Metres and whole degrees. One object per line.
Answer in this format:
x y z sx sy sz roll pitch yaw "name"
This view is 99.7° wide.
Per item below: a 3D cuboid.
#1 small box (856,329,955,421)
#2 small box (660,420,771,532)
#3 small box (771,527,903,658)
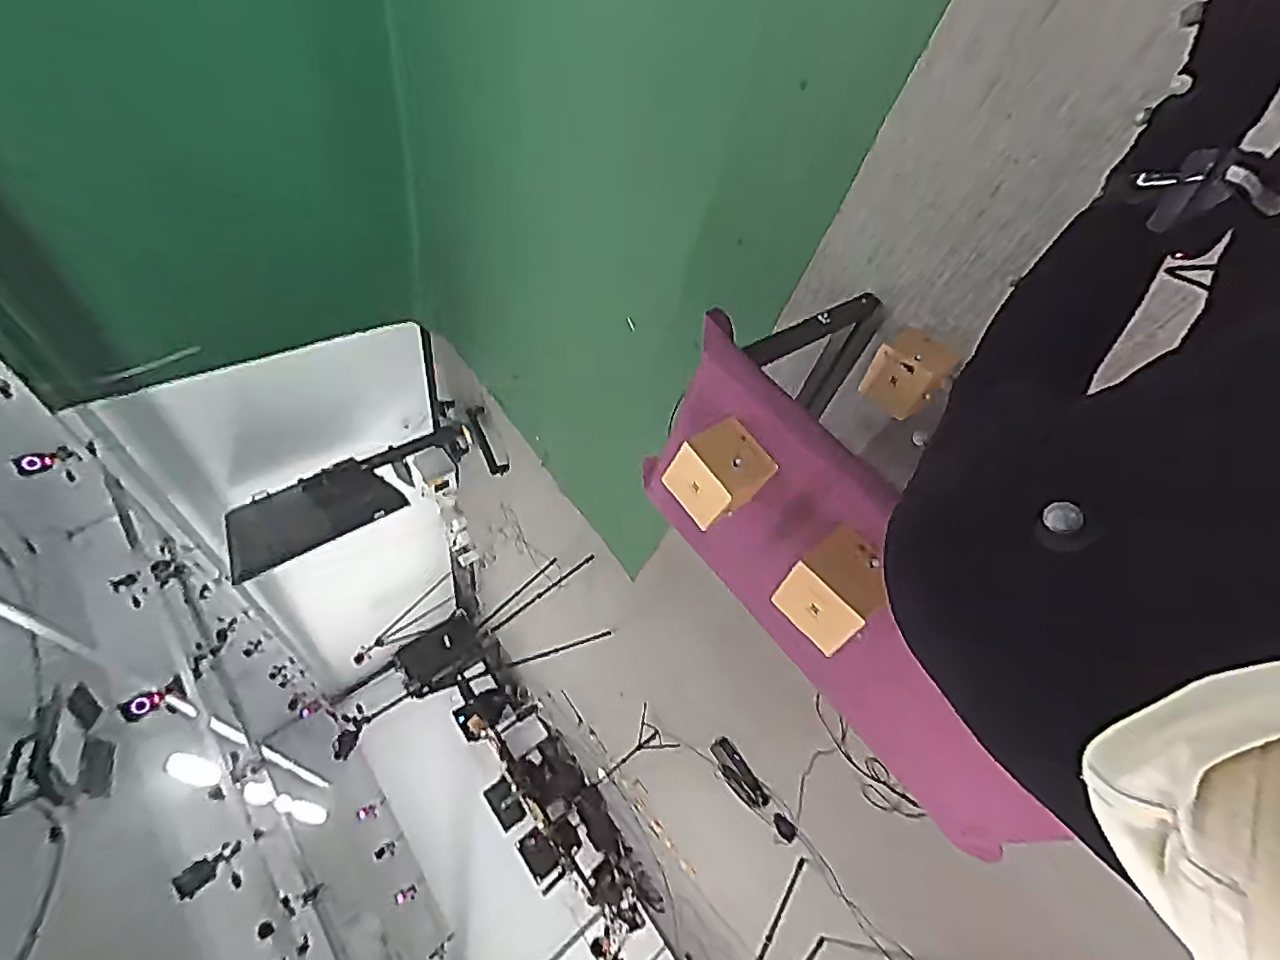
0.776 -0.310 1.578 0.168 0.176 0.179 45 146 26 "small box"
0.182 -0.014 1.275 0.168 0.176 0.179 51 149 15 "small box"
0.412 0.233 1.135 0.168 0.176 0.179 45 146 23 "small box"
